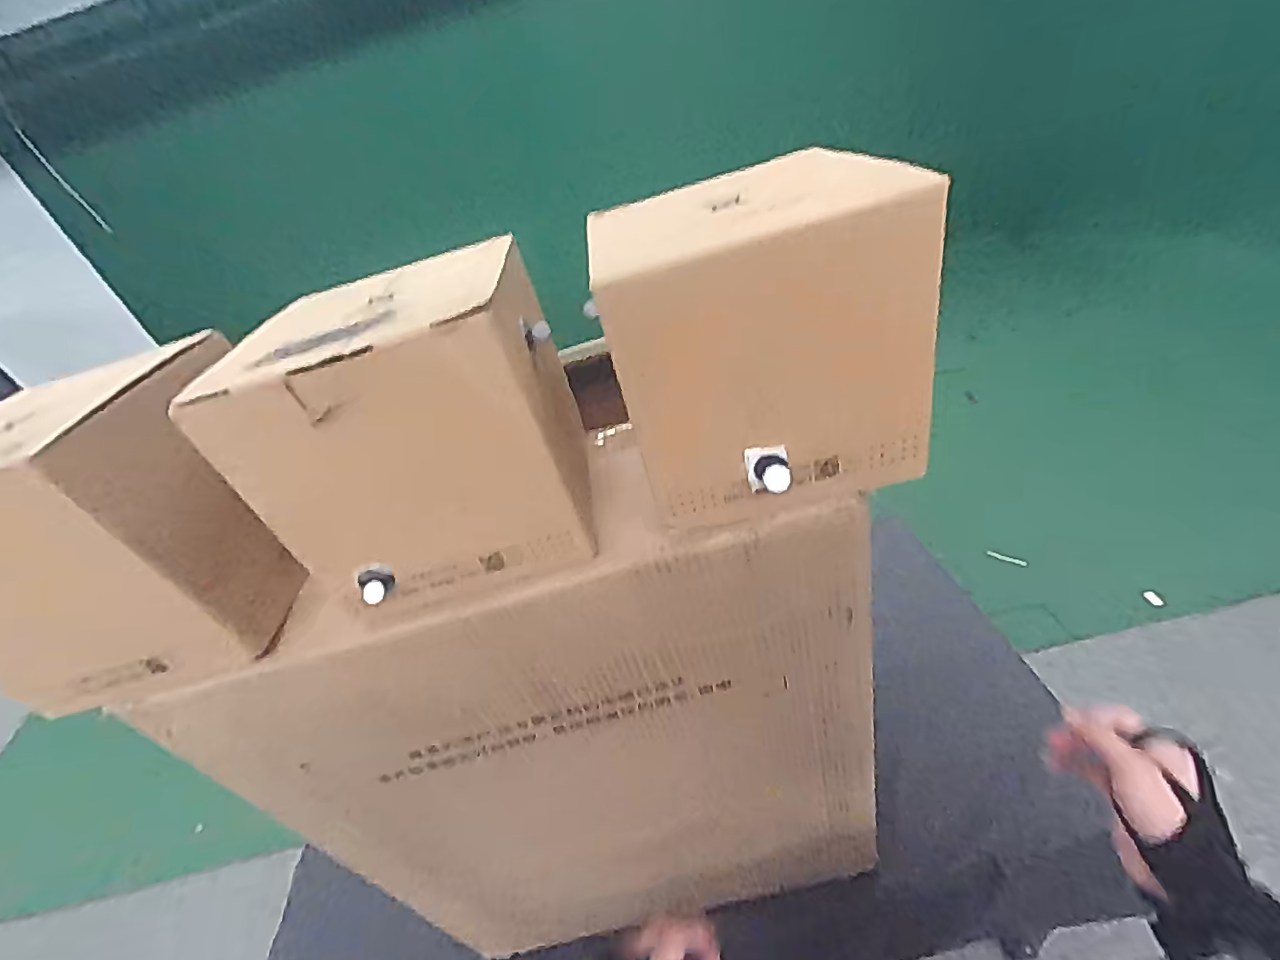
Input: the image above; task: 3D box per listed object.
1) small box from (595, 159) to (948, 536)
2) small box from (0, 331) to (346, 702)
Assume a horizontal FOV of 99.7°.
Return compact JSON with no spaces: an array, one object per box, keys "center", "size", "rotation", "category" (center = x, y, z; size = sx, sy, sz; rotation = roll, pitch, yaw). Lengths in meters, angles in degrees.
[{"center":[0.072,-0.092,0.362],"size":[0.168,0.176,0.179],"rotation":[-15,36,4],"category":"small box"},{"center":[-0.349,0.022,0.385],"size":[0.168,0.176,0.179],"rotation":[-17,35,6],"category":"small box"}]
